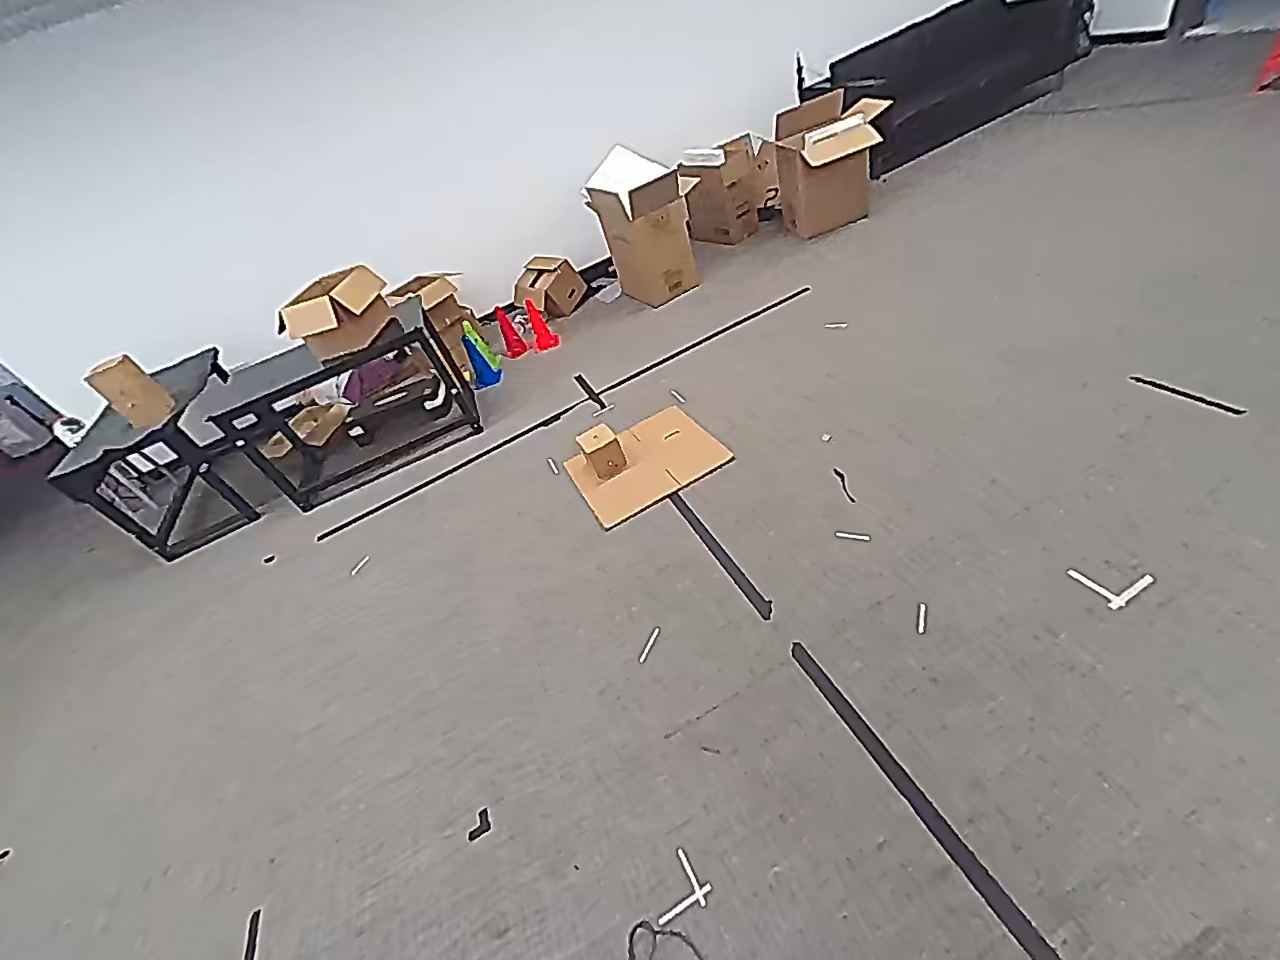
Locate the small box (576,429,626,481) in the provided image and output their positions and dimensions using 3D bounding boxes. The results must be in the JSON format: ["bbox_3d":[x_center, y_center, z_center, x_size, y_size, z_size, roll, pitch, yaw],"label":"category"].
[{"bbox_3d":[-0.195,-0.123,2.709,0.168,0.176,0.179,-30,40,-9],"label":"small box"}]
